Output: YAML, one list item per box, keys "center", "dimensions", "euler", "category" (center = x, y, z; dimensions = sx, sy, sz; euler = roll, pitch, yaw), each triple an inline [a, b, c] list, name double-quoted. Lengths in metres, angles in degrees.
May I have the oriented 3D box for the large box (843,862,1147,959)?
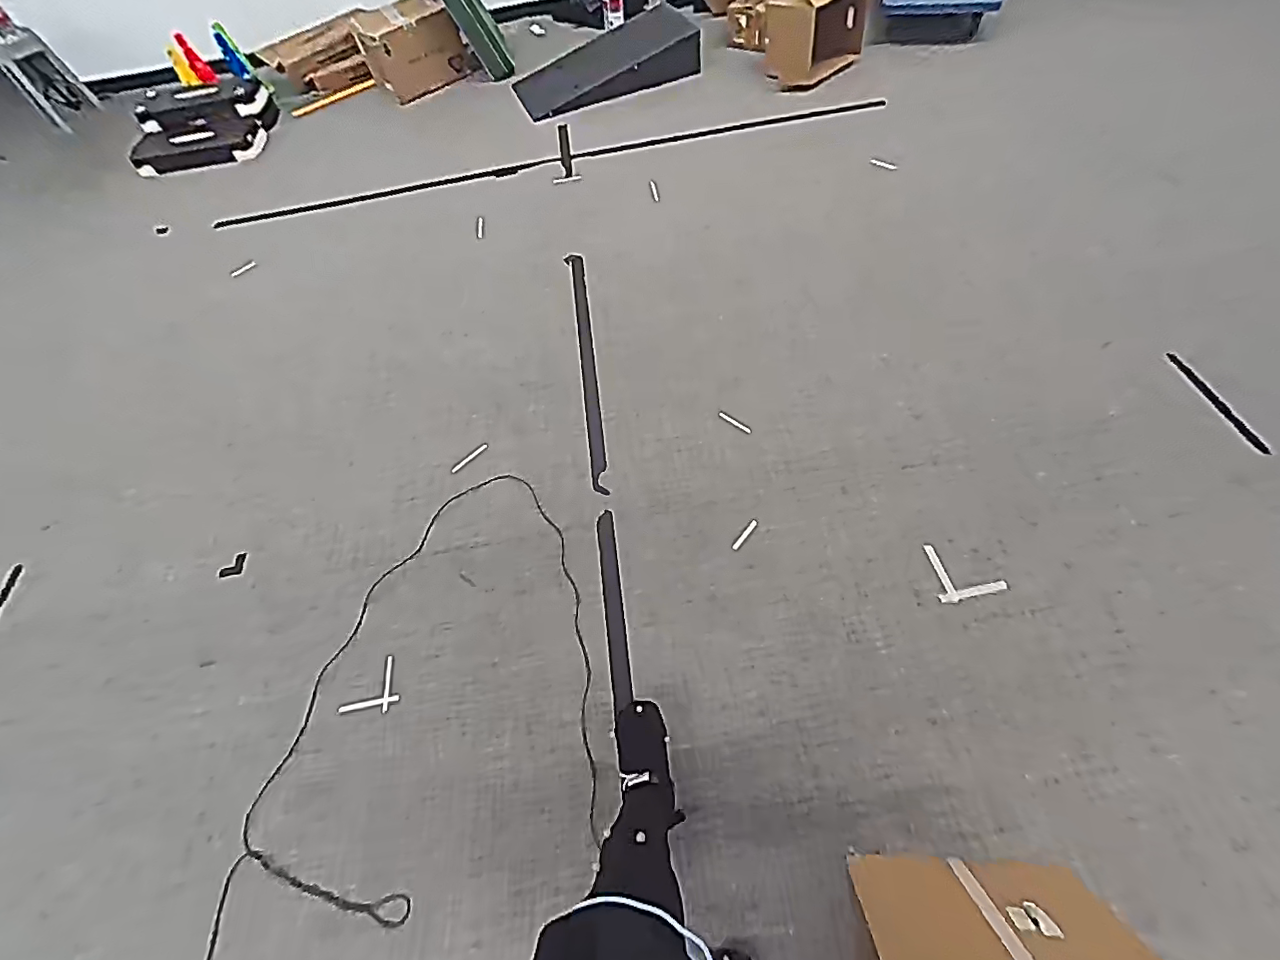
- center: [0.444, 0.713, 0.608]
  dimensions: [0.320, 0.408, 0.320]
  euler: [-2, 82, 9]
  category: "large box"
